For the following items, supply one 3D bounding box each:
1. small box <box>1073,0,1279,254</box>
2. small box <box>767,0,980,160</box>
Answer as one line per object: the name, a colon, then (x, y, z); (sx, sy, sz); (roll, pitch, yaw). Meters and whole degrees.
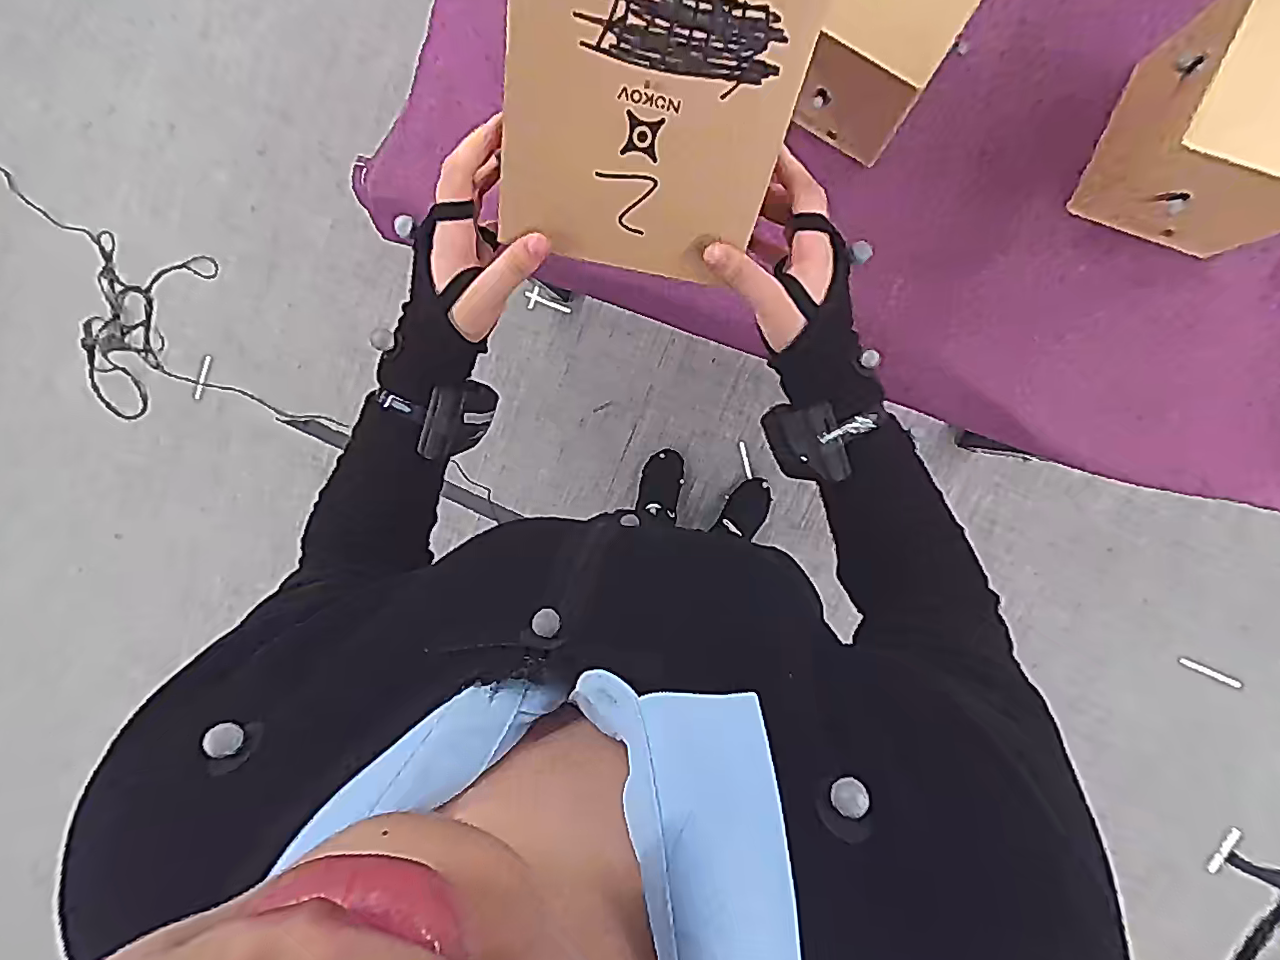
small box: (0.606, -0.362, 0.560); (0.168, 0.176, 0.179); (23, 98, 5)
small box: (0.254, -0.495, 0.586); (0.168, 0.176, 0.179); (34, 99, 1)
